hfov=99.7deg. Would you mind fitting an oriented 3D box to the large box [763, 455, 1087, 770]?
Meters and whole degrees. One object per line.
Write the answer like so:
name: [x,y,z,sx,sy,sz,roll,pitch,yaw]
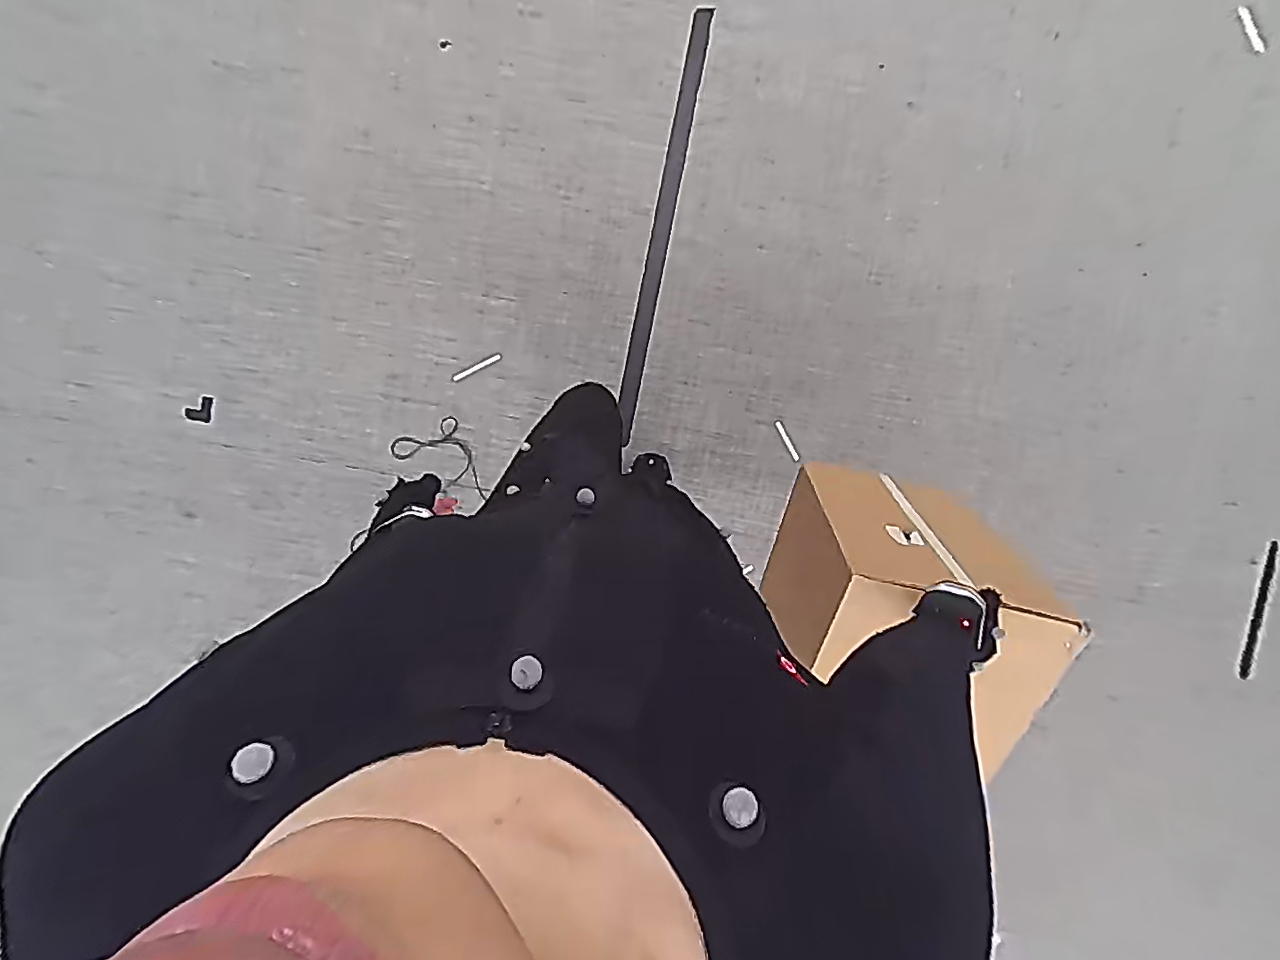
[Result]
large box: [0.424,0.201,0.943,0.320,0.408,0.320,12,116,2]
